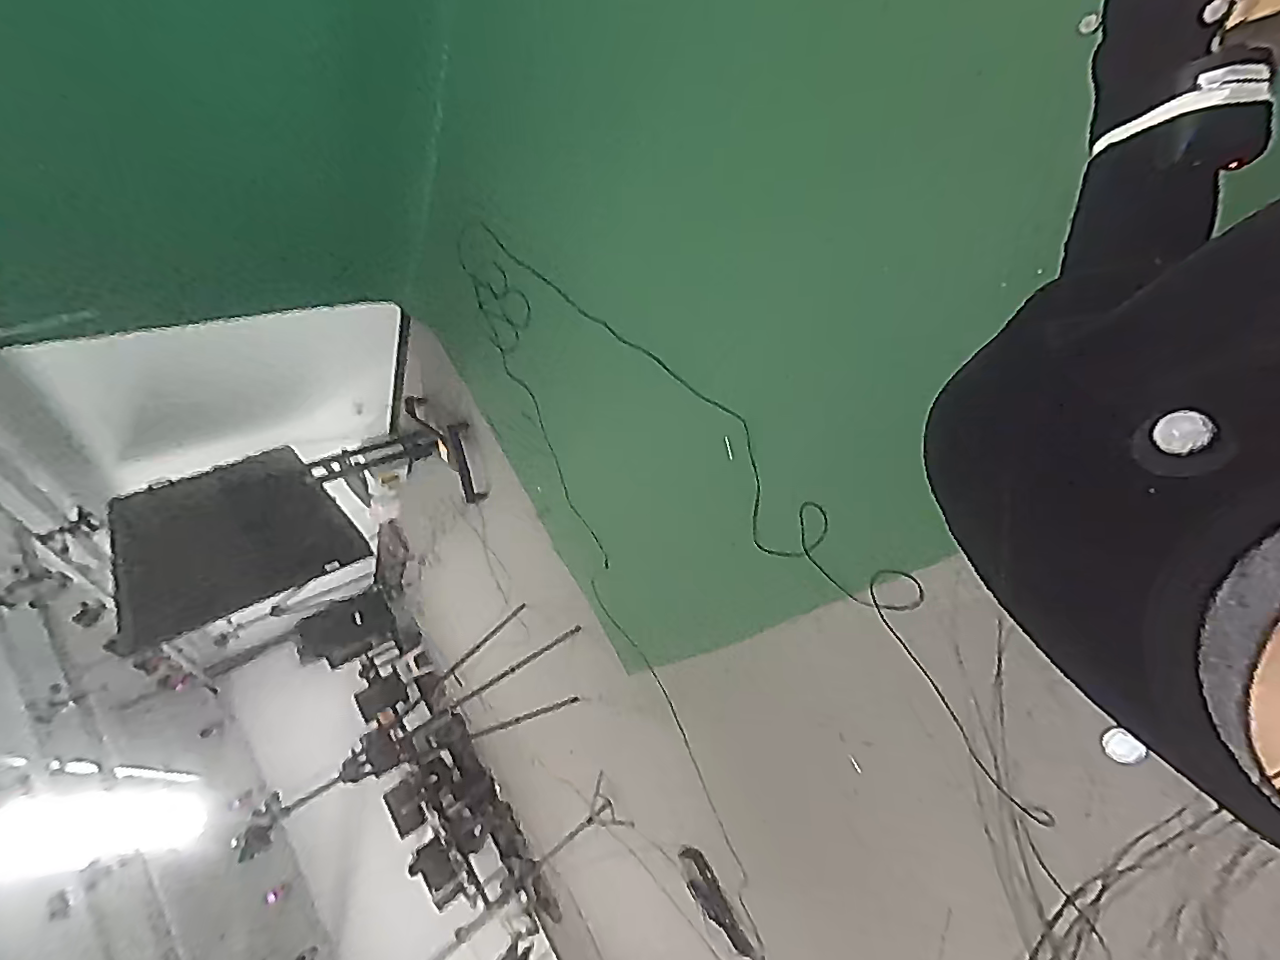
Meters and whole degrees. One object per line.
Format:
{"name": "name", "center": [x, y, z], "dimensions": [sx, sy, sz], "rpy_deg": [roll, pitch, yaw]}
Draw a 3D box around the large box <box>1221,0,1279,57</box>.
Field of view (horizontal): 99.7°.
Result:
{"name": "large box", "center": [0.599, -0.486, 0.262], "dimensions": [0.408, 0.320, 0.320], "rpy_deg": [8, 117, 46]}
